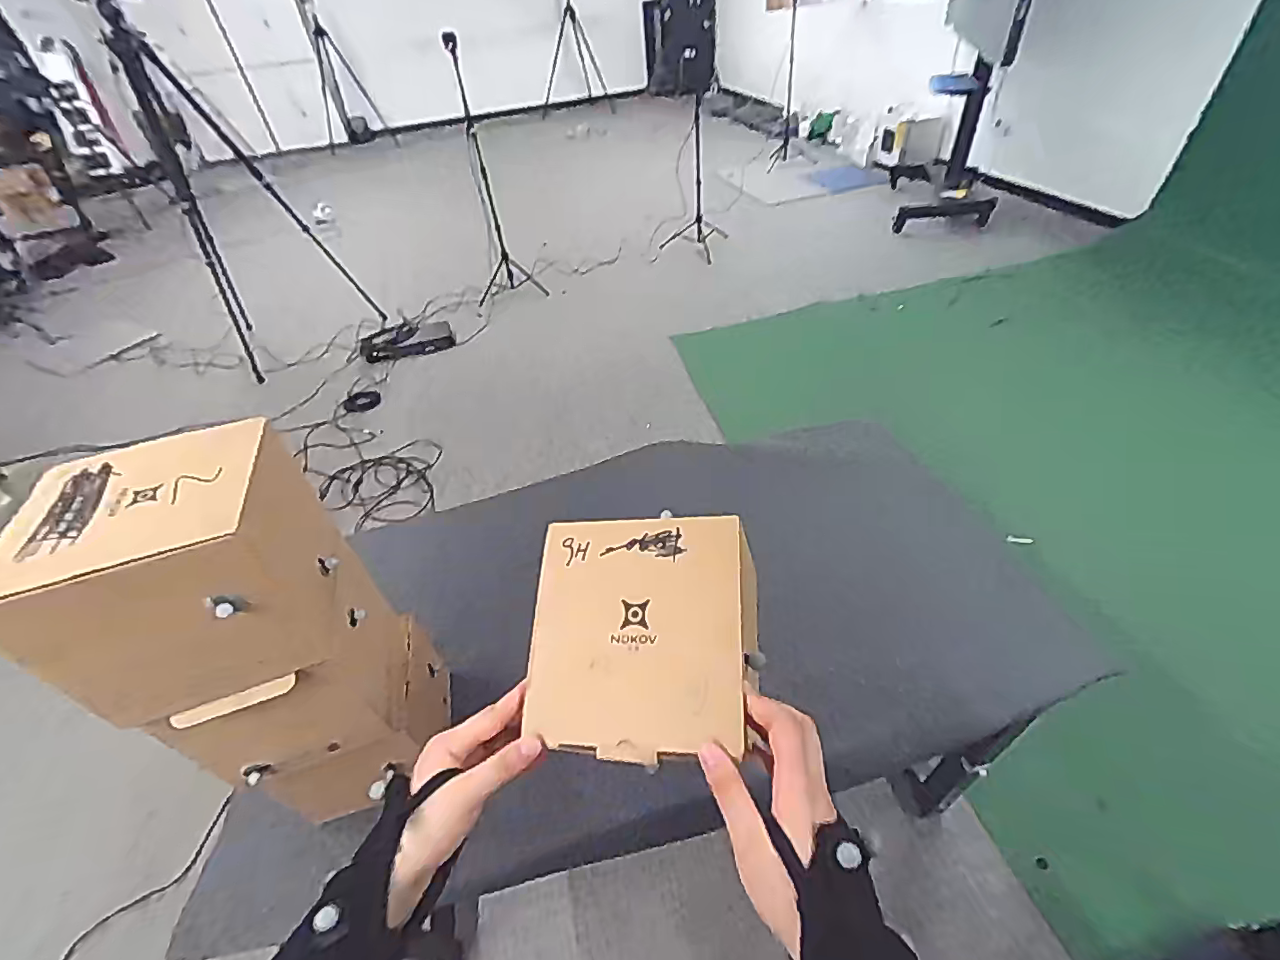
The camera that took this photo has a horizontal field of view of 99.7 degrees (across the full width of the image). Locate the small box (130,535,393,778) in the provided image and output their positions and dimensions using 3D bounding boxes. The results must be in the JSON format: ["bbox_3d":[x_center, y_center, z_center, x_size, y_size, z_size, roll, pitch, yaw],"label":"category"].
[{"bbox_3d":[-0.386,0.197,0.594,0.168,0.176,0.179,-18,42,-12],"label":"small box"}]

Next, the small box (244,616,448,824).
[{"bbox_3d":[-0.361,0.313,0.708,0.179,0.176,0.168,-16,42,-8],"label":"small box"}]
